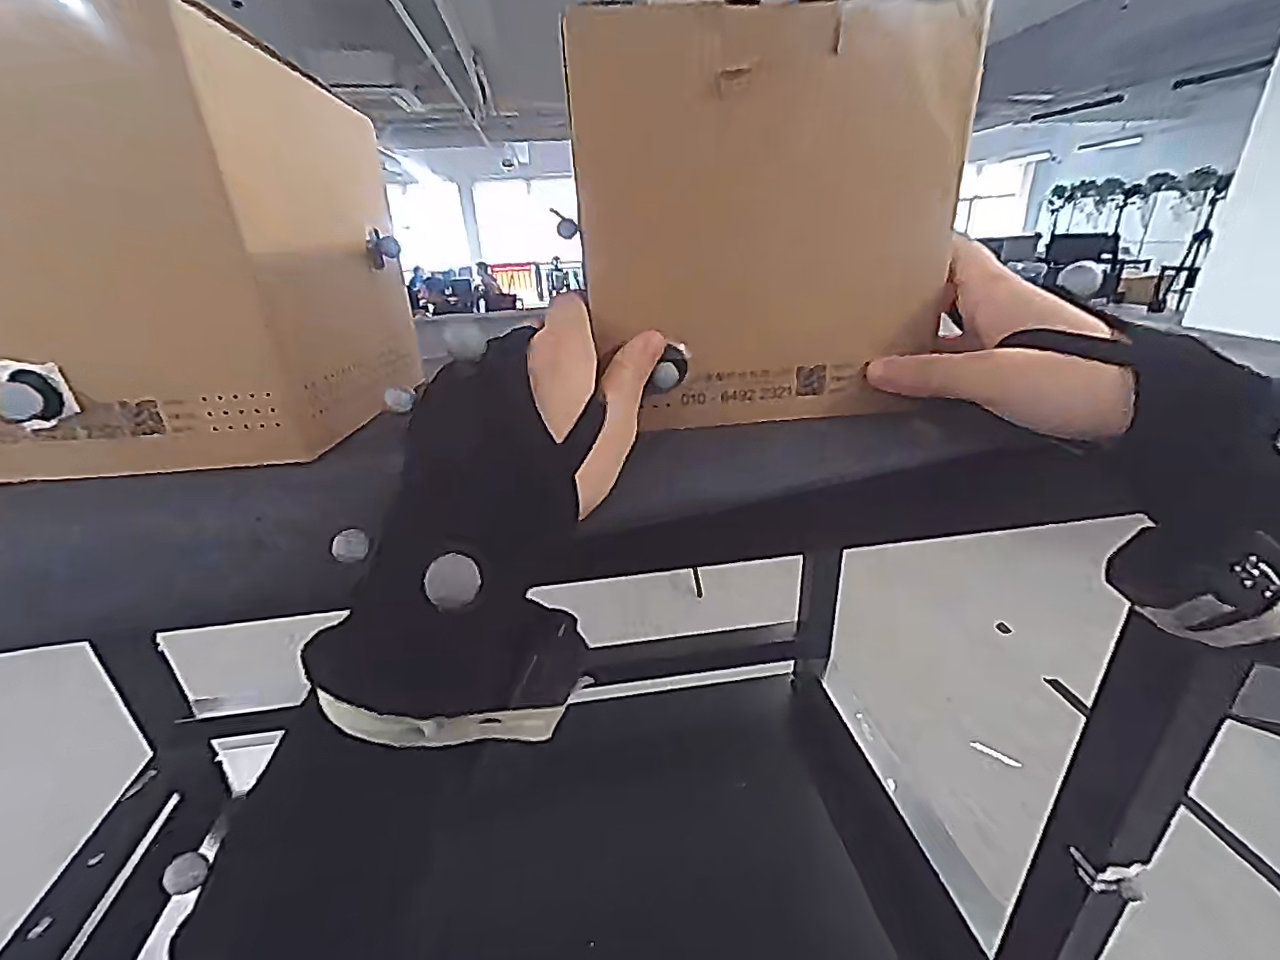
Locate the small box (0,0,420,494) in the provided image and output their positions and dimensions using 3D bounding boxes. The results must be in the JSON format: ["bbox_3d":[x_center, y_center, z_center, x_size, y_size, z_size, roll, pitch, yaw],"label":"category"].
[{"bbox_3d":[-0.226,-0.103,0.274,0.168,0.176,0.179,-5,23,-4],"label":"small box"}]

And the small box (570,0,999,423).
[{"bbox_3d":[0.055,-0.132,0.306,0.168,0.176,0.179,-5,23,-3],"label":"small box"}]
